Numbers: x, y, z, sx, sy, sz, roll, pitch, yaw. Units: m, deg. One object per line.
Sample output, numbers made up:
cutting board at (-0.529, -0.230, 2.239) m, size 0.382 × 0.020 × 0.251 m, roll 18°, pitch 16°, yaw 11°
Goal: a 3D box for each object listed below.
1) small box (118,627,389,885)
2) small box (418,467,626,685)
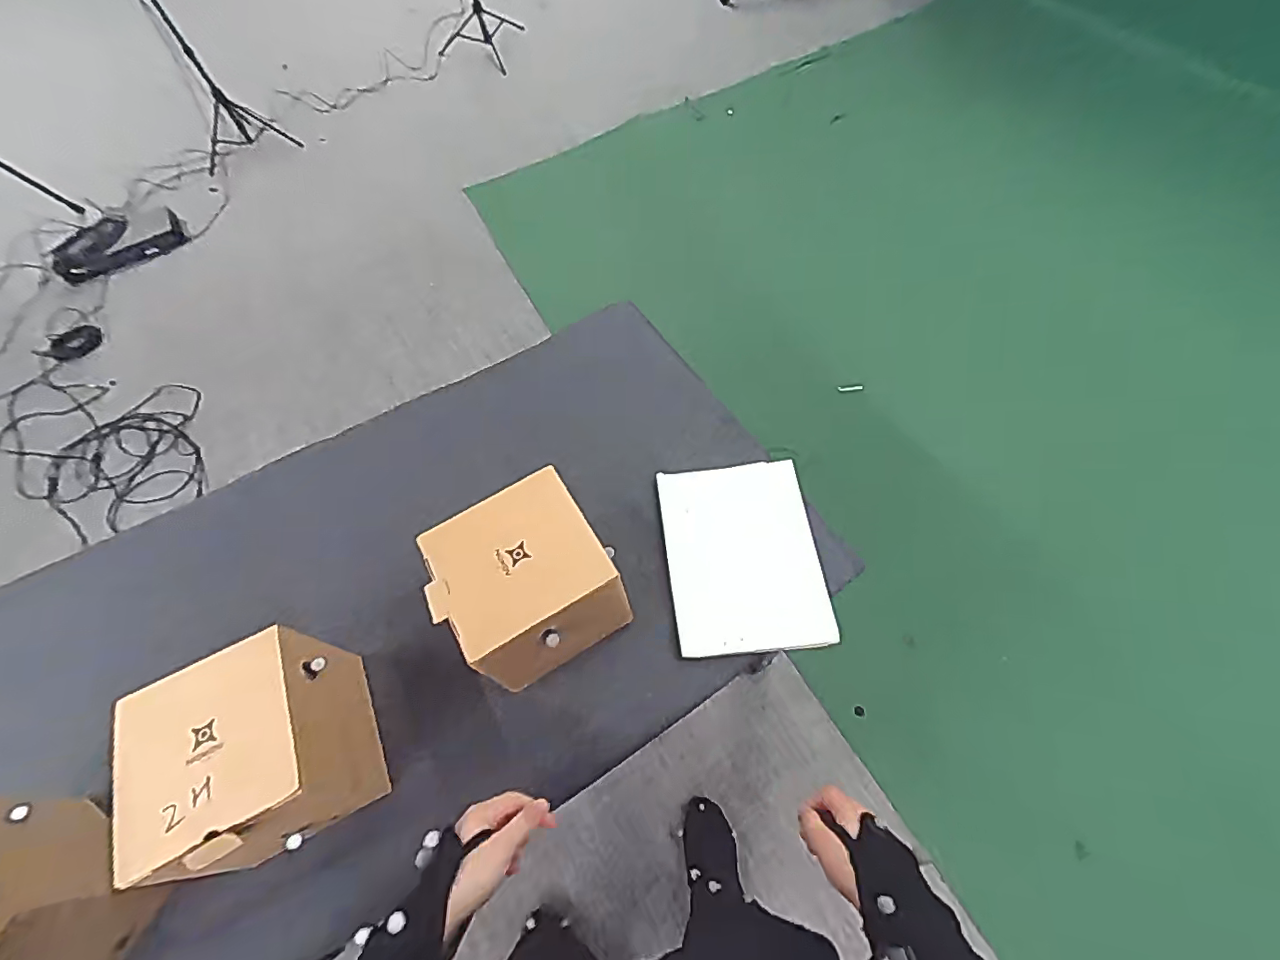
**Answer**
small box at (-0.405, 0.292, 0.587) m, size 0.168 × 0.176 × 0.179 m, roll -27°, pitch 62°, yaw -8°
small box at (-0.128, 0.122, 0.654) m, size 0.179 × 0.176 × 0.168 m, roll -31°, pitch 62°, yaw -10°
